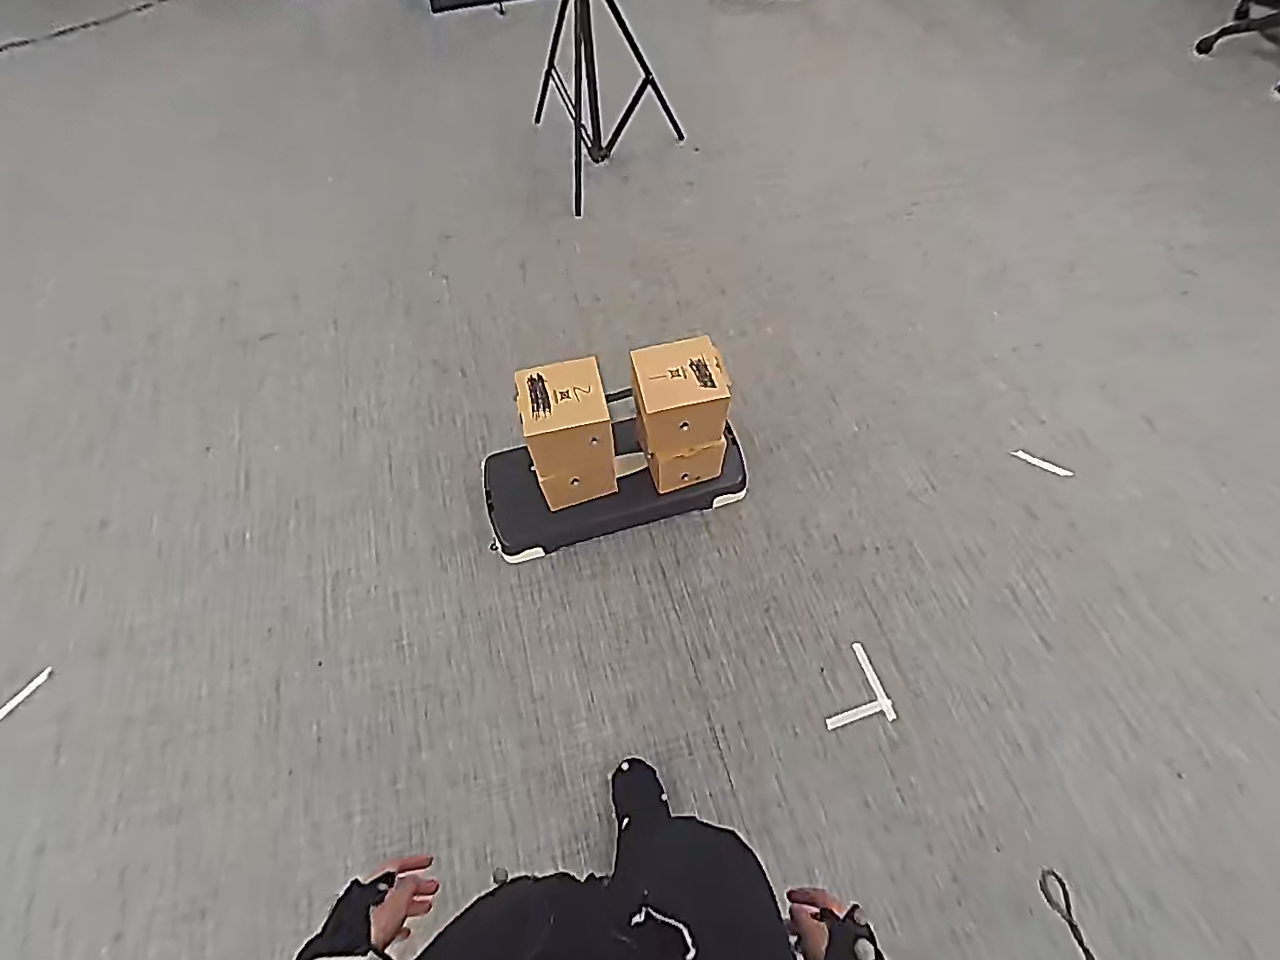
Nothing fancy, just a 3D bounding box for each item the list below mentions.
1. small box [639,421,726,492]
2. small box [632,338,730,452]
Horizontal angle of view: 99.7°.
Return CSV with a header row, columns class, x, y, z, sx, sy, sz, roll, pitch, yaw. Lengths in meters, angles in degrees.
class,x,y,z,sx,sy,sz,roll,pitch,yaw
small box,0.095,-0.096,1.327,0.168,0.176,0.179,-17,65,-7
small box,0.084,-0.180,1.185,0.179,0.176,0.168,-12,64,-4
